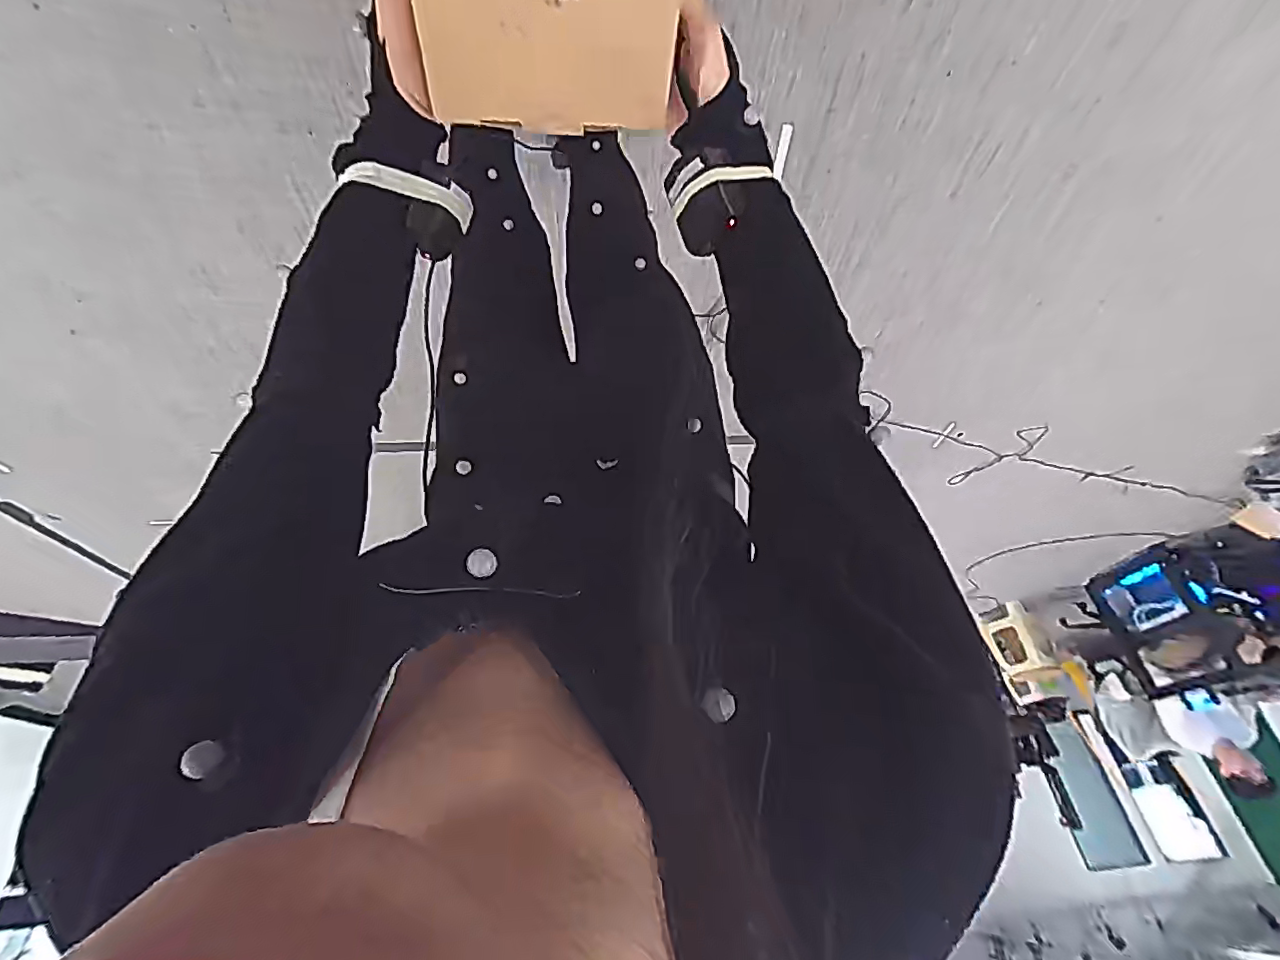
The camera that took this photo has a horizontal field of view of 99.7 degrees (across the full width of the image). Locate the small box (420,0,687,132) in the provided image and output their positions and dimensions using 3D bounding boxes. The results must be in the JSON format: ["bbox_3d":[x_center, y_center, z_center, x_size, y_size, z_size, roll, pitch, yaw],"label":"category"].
[{"bbox_3d":[-0.064,-0.369,0.361,0.168,0.176,0.179,-7,148,-13],"label":"small box"}]
